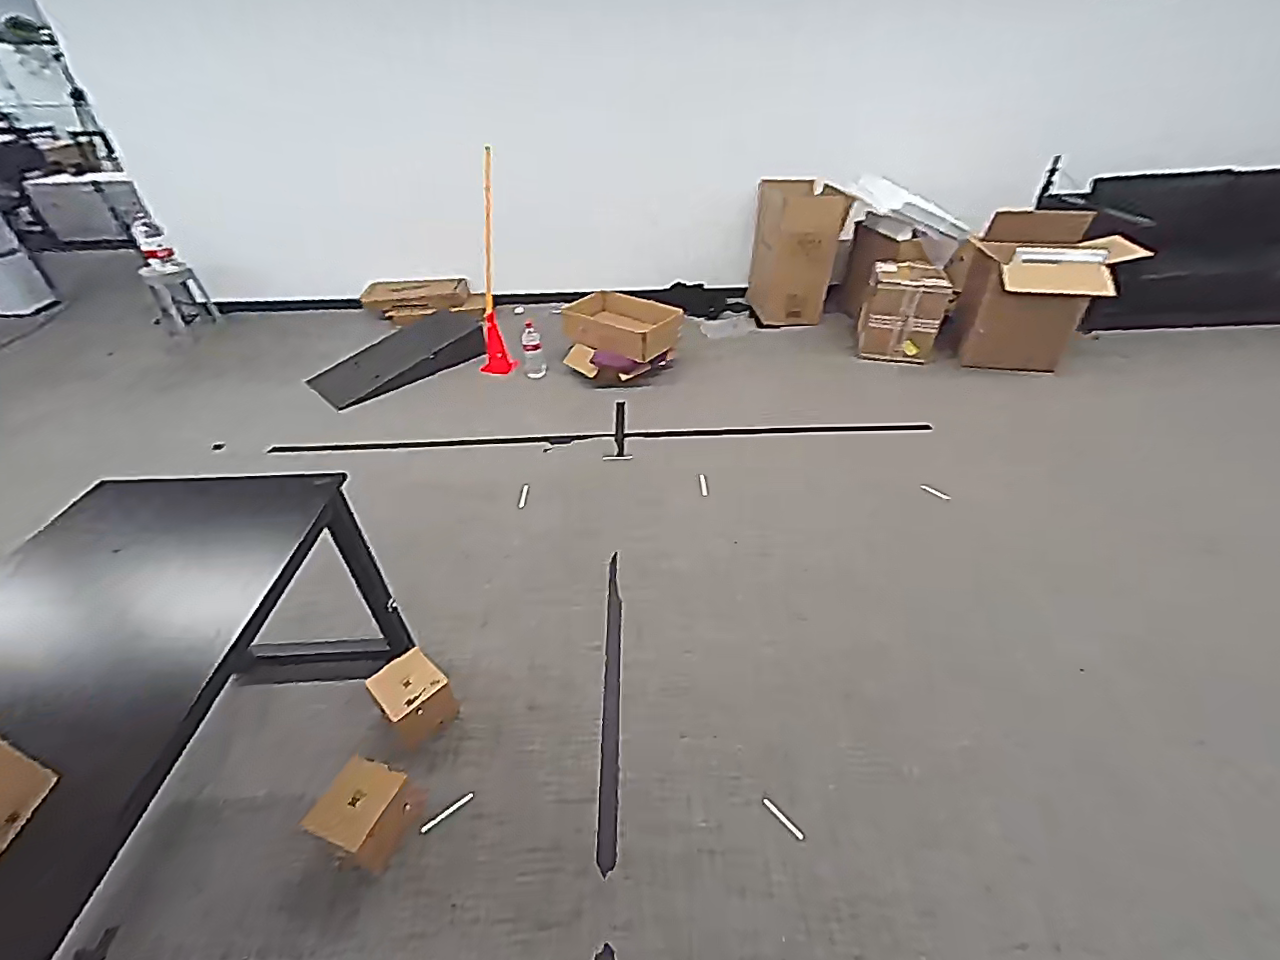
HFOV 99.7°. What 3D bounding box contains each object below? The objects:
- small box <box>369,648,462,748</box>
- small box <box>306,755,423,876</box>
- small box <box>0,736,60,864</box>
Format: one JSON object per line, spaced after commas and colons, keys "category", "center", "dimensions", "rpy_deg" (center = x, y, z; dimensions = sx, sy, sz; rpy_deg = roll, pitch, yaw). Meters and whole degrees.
{"category": "small box", "center": [-0.644, 0.631, 1.561], "dimensions": [0.179, 0.176, 0.168], "rpy_deg": [29, 48, 32]}
{"category": "small box", "center": [-0.660, 0.821, 1.325], "dimensions": [0.168, 0.176, 0.179], "rpy_deg": [11, 41, 17]}
{"category": "small box", "center": [-0.909, 0.419, 0.662], "dimensions": [0.179, 0.176, 0.168], "rpy_deg": [-2, 38, -1]}
